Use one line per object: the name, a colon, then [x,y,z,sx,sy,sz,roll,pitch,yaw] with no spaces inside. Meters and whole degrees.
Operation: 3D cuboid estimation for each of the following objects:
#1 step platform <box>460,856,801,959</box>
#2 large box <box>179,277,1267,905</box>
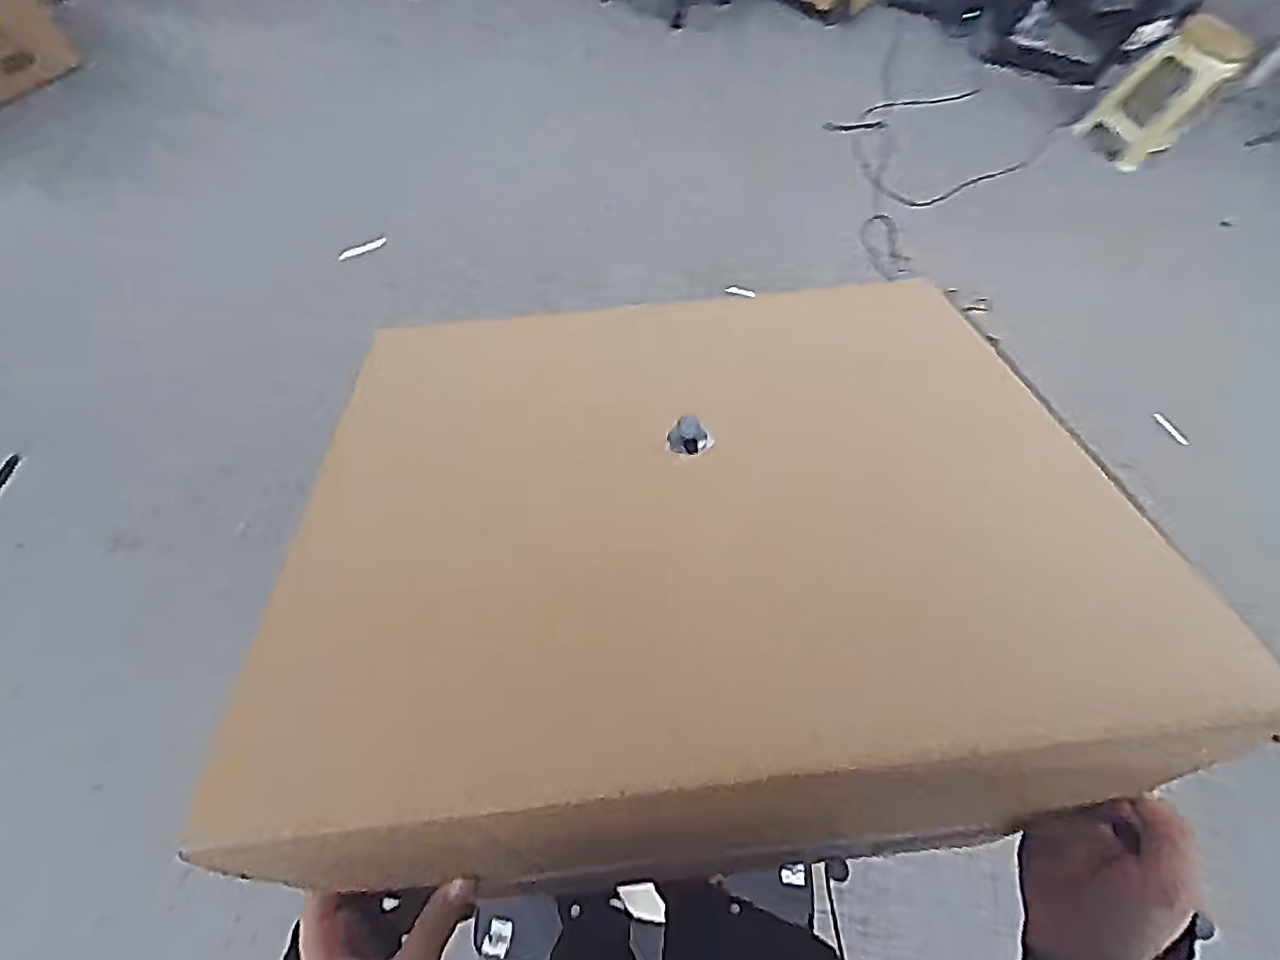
step platform: [-0.015,0.867,1.138,0.684,0.204,0.286,16,66,1]
large box: [0.024,0.086,0.401,0.408,0.320,0.320,-7,50,-1]
